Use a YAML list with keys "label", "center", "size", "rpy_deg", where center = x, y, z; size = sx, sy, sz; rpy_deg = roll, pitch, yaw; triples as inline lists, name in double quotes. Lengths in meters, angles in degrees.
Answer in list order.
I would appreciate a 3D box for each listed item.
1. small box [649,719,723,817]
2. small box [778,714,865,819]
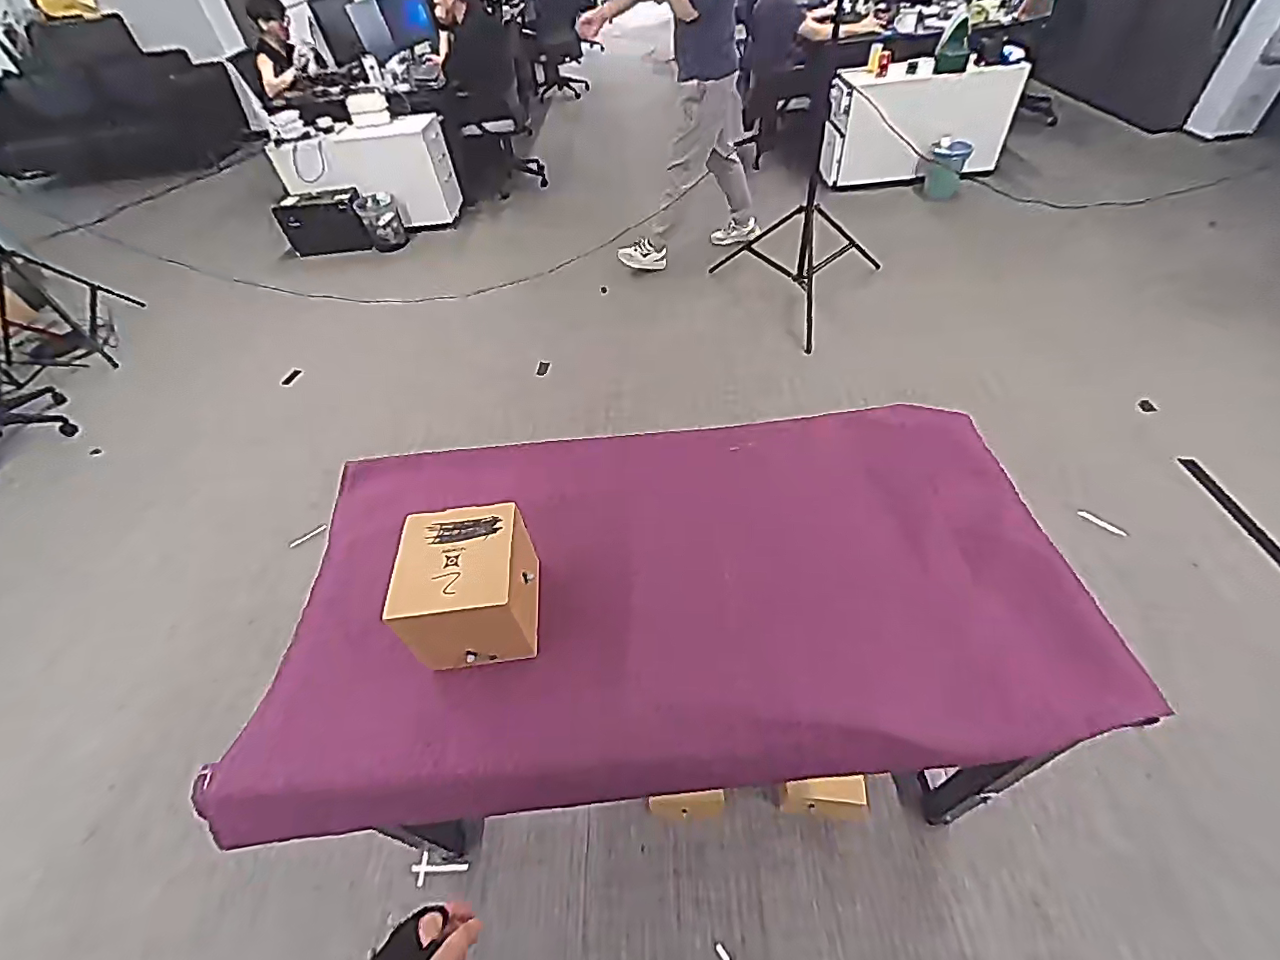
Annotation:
- label: "small box"
  center: [0.109, 0.687, 1.284]
  size: [0.168, 0.176, 0.179]
  rpy_deg: [-3, 47, 3]
- label: "small box"
  center: [0.416, 0.672, 1.263]
  size: [0.168, 0.176, 0.179]
  rpy_deg: [1, 47, 9]
